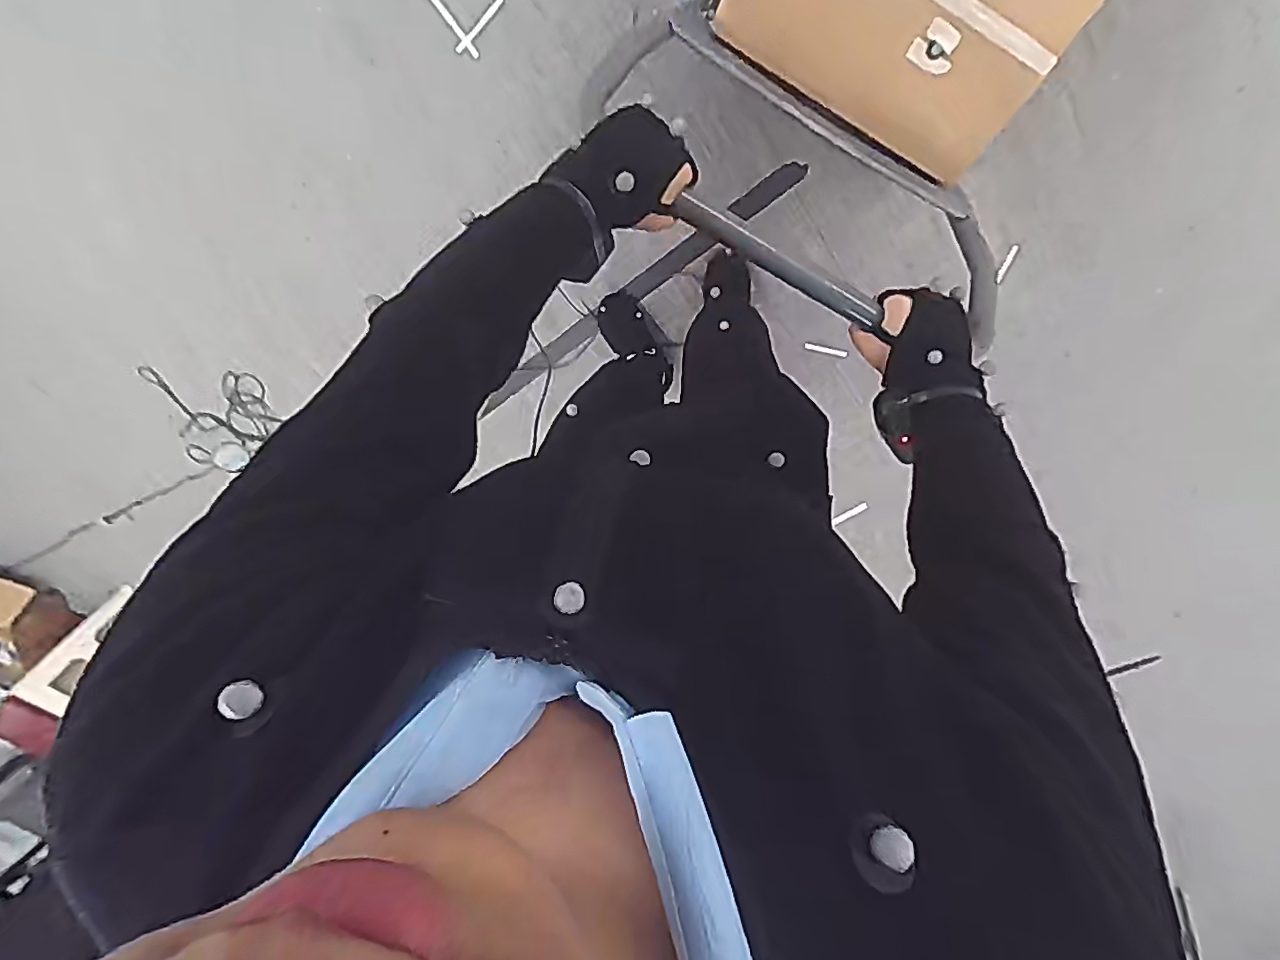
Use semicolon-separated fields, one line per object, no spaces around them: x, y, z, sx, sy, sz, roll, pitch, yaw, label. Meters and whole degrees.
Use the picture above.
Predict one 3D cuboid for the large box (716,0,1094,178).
0.365;-0.713;0.765;0.408;0.320;0.320;26;134;-9;large box
